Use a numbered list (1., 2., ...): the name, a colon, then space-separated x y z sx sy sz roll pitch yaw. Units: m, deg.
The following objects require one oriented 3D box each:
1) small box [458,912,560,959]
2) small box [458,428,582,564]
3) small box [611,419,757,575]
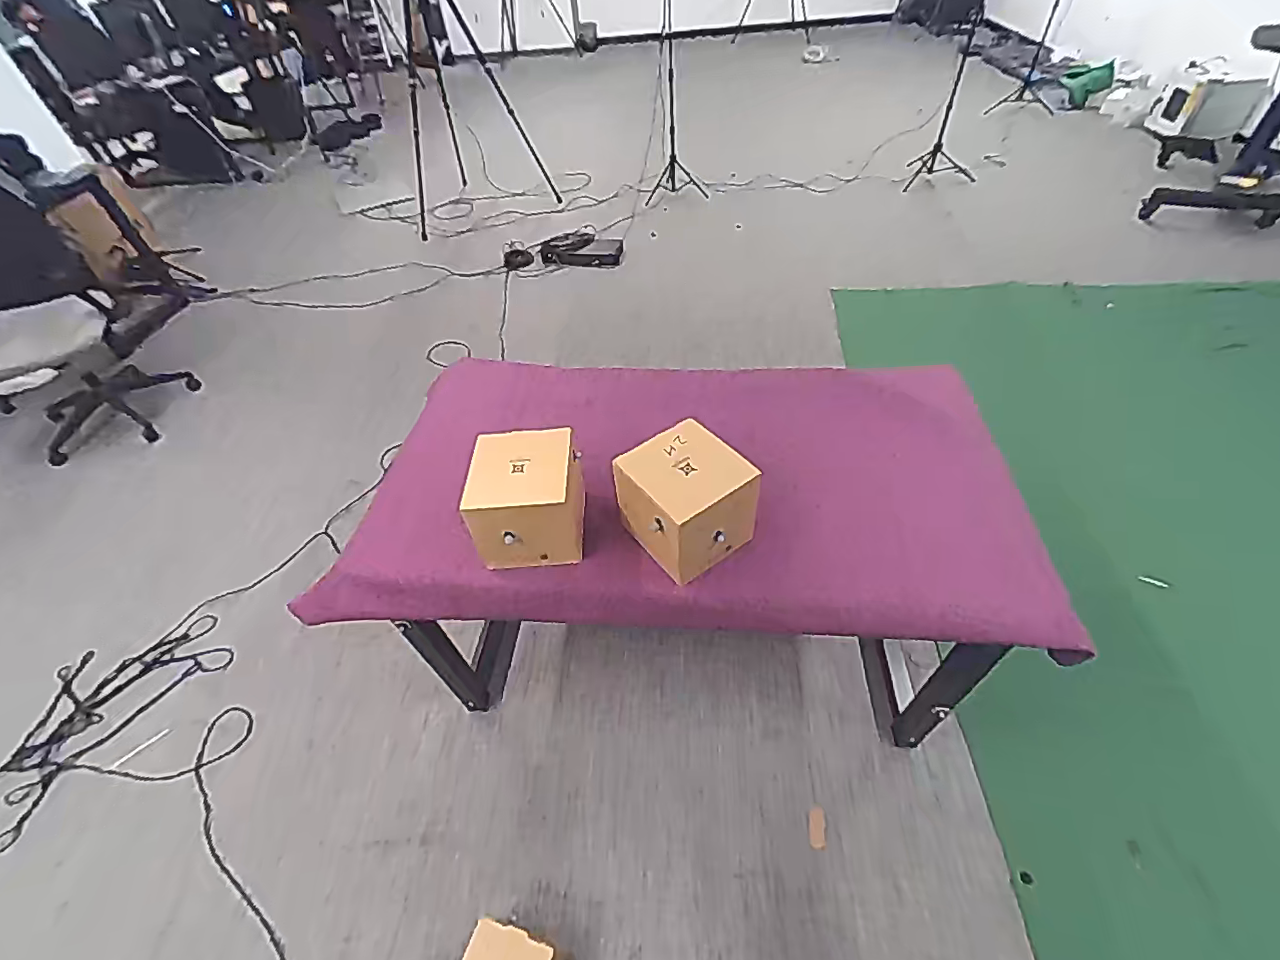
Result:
1. small box: -0.268 0.989 1.058 0.168 0.176 0.179 12 51 17
2. small box: -0.195 0.034 0.936 0.168 0.176 0.179 -4 46 1
3. small box: 0.073 0.035 0.909 0.168 0.176 0.179 -29 51 -22
